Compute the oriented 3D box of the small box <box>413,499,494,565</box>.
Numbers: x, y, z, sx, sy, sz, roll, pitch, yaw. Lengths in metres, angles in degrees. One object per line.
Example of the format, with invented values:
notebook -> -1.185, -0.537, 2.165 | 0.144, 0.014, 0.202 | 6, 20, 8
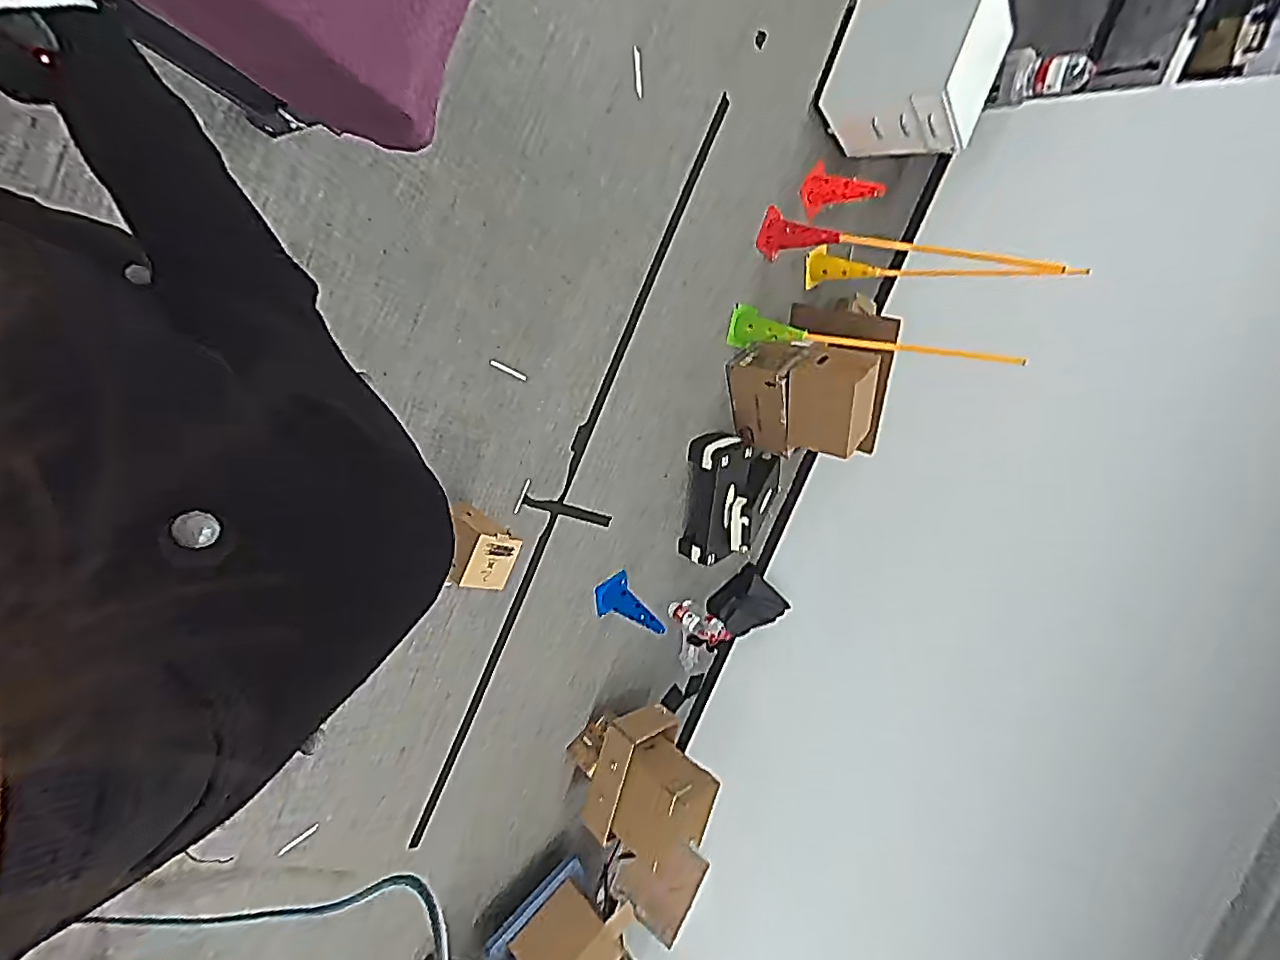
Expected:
small box -> -0.629, 0.171, 1.811 | 0.179, 0.176, 0.168 | 14, 99, -50
